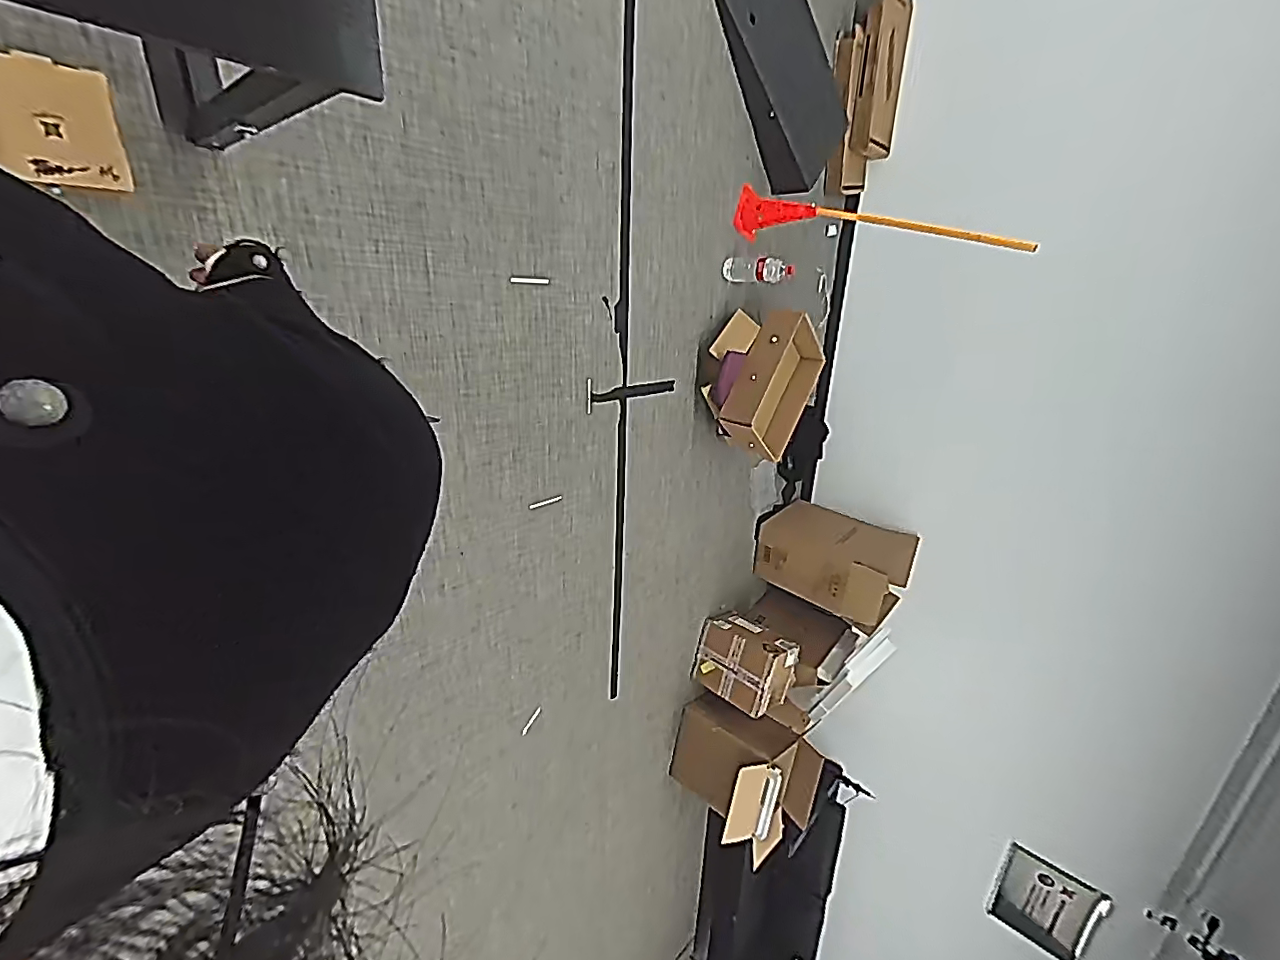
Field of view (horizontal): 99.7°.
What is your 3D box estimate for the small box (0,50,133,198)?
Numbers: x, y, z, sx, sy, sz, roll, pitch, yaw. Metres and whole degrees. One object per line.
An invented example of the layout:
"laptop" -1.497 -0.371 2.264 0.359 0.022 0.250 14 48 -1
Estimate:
"small box" -0.989 -0.582 0.900 0.168 0.176 0.179 -19 119 -44
